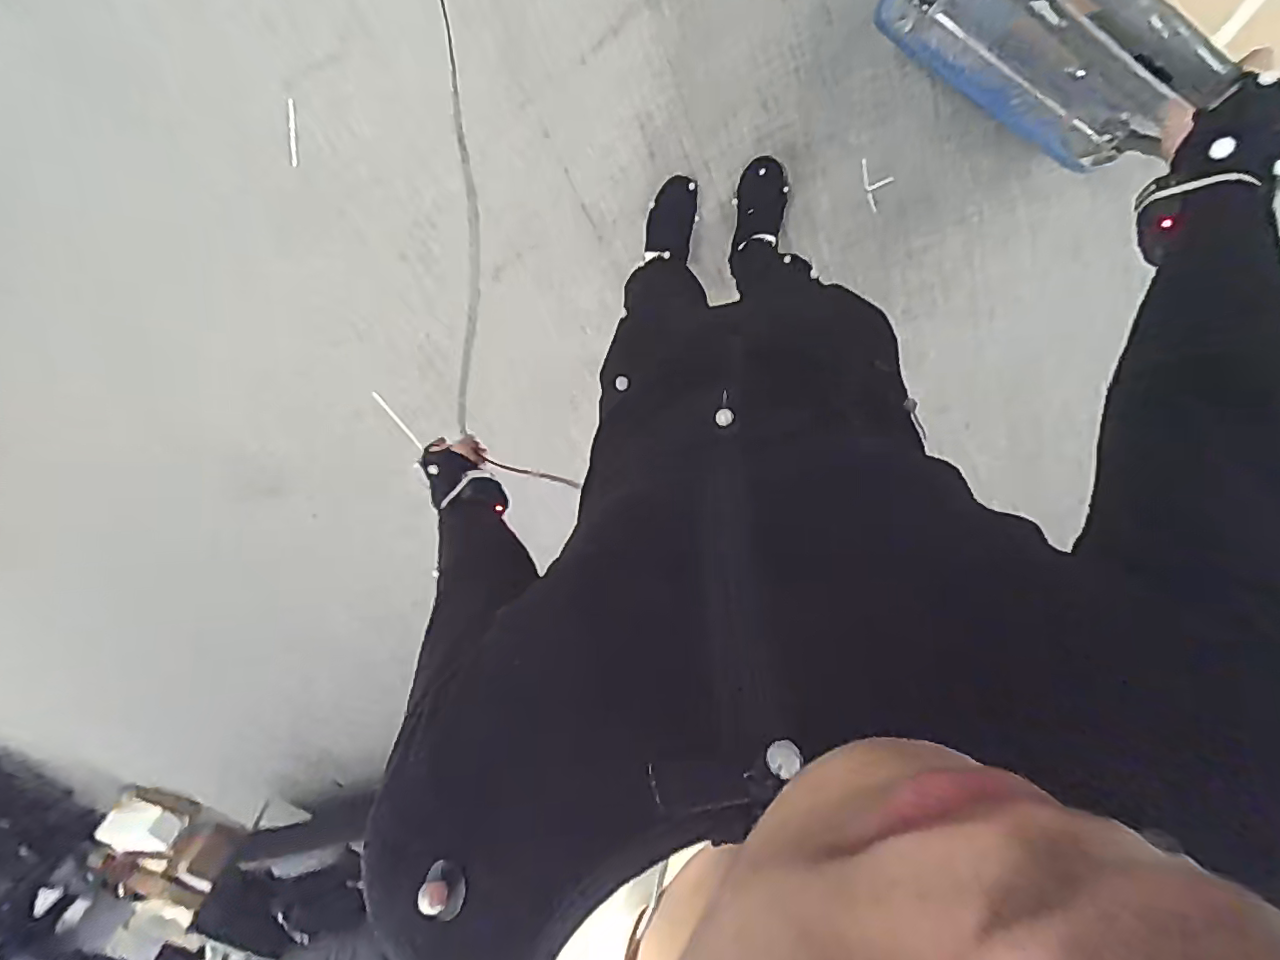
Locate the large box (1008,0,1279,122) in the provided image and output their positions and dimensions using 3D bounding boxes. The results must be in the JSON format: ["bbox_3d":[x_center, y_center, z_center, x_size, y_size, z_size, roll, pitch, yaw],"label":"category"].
[{"bbox_3d":[0.884,-0.825,0.807,0.320,0.320,0.408,22,123,-13],"label":"large box"}]
